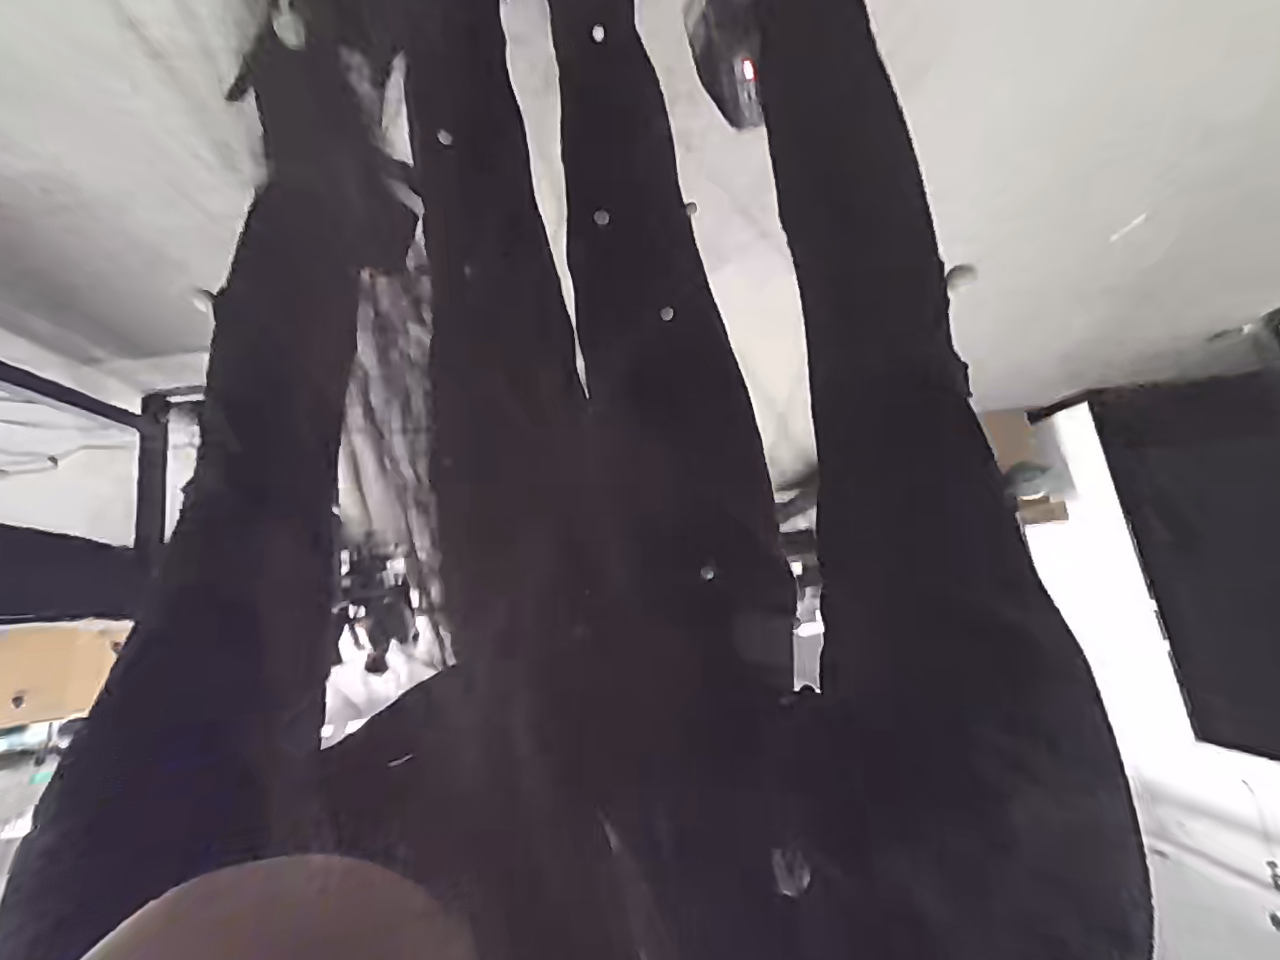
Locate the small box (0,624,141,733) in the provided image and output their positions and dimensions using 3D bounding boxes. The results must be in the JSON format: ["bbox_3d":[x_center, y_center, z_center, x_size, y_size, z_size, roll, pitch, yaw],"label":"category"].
[{"bbox_3d":[-1.102,0.372,1.026,0.179,0.176,0.168,-8,167,-4],"label":"small box"}]
